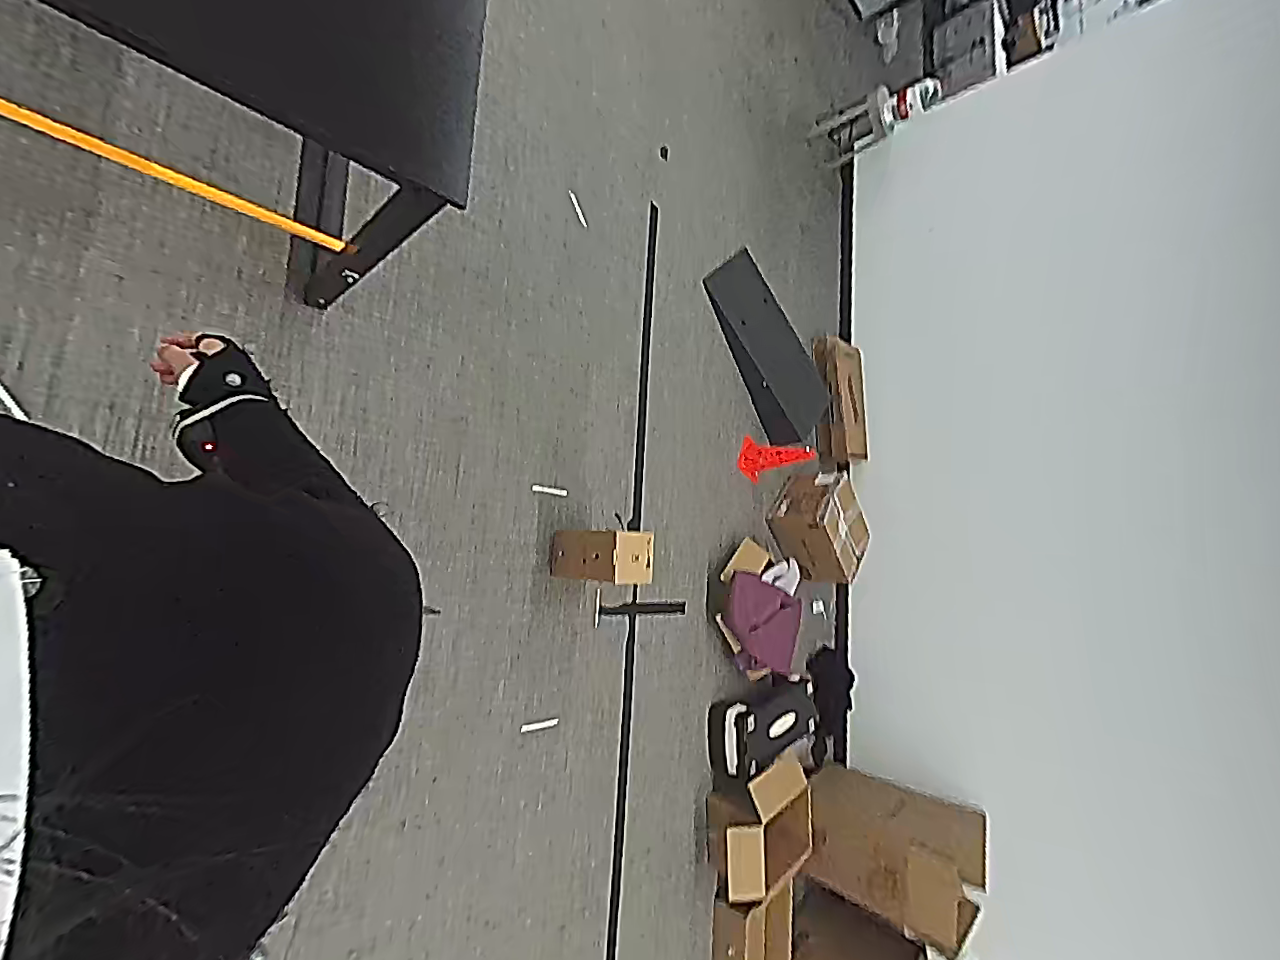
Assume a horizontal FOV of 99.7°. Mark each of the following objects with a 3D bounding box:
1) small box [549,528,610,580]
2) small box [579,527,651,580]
[{"bbox_3d":[-0.196,0.260,1.905,0.179,0.176,0.168,13,78,-45],"label":"small box"},{"bbox_3d":[-0.085,0.244,1.785,0.179,0.176,0.168,10,80,-45],"label":"small box"}]
